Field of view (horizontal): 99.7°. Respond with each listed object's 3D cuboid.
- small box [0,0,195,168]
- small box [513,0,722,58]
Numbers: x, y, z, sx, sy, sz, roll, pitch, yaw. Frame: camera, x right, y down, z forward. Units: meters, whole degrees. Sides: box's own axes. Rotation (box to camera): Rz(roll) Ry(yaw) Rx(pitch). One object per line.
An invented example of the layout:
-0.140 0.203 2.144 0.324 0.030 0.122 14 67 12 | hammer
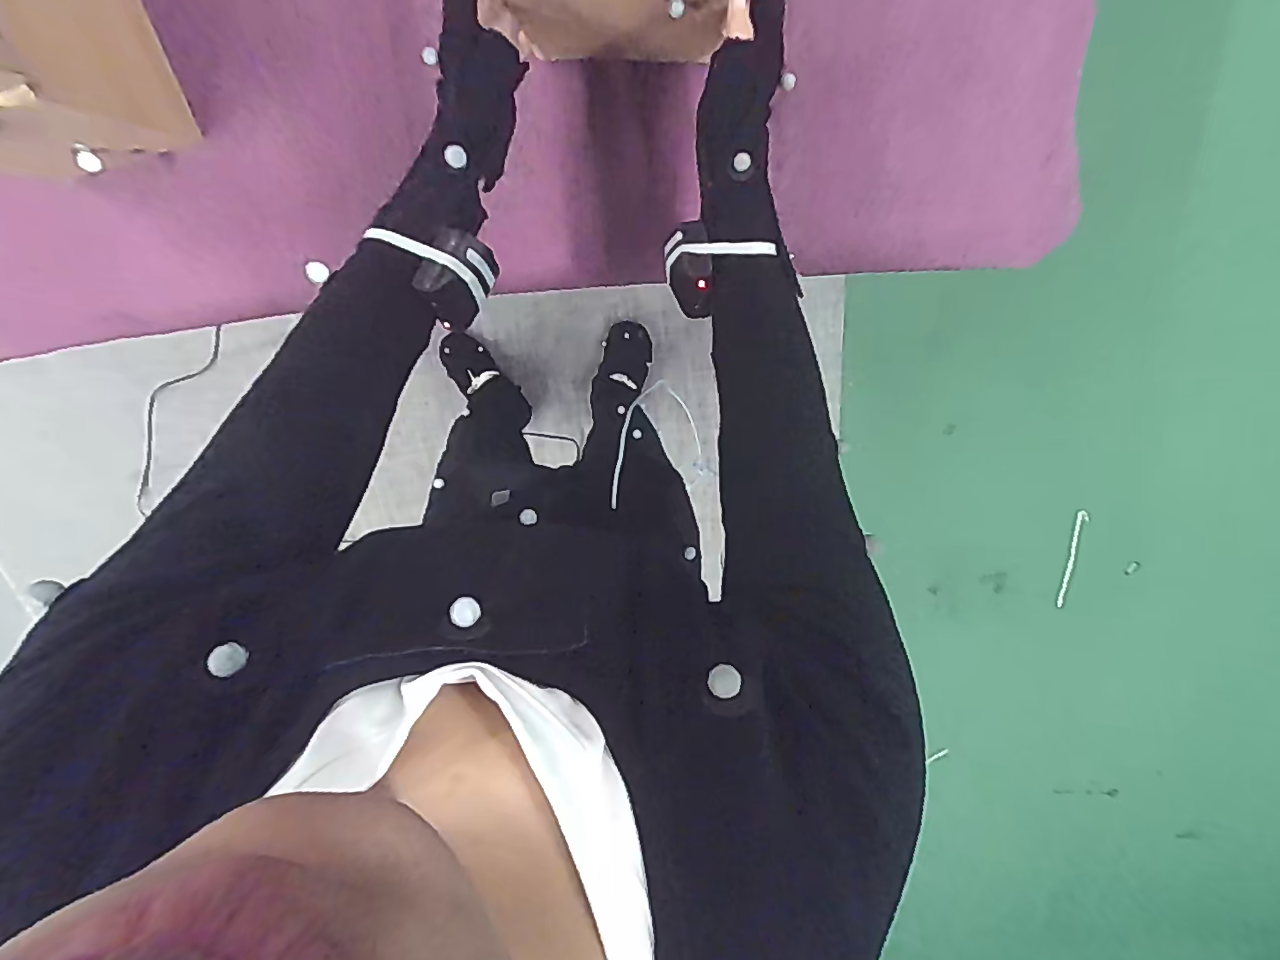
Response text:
-0.548 -0.390 0.459 0.168 0.176 0.179 -10 112 6 | small box
-0.018 -0.452 0.414 0.179 0.176 0.168 2 111 1 | small box
